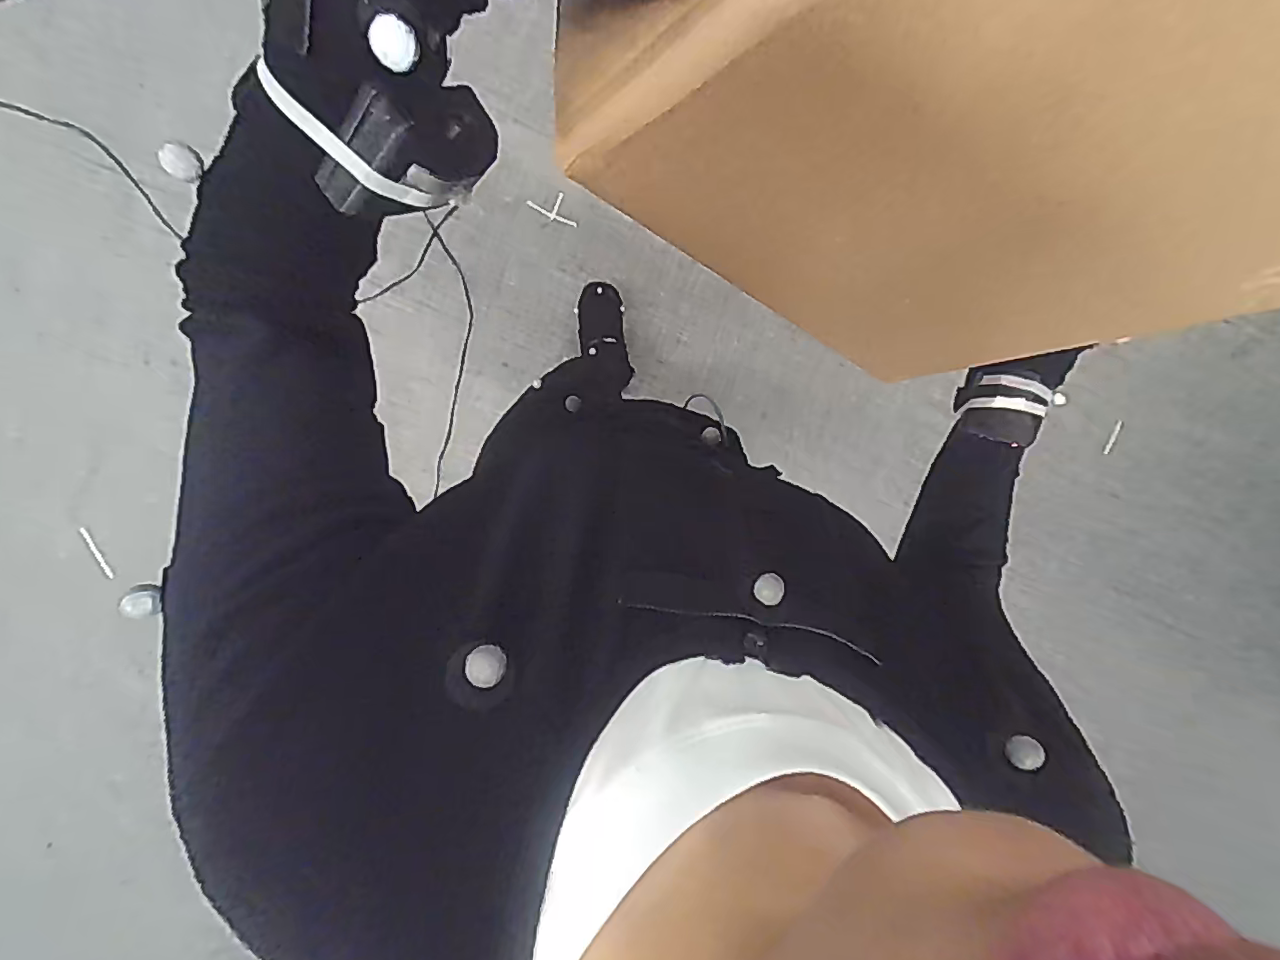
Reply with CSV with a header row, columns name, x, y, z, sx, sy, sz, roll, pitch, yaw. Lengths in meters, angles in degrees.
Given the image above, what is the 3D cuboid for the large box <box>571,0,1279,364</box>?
name,x,y,z,sx,sy,sz,roll,pitch,yaw
large box,0.209,-0.290,0.298,0.408,0.320,0.320,9,80,-46
